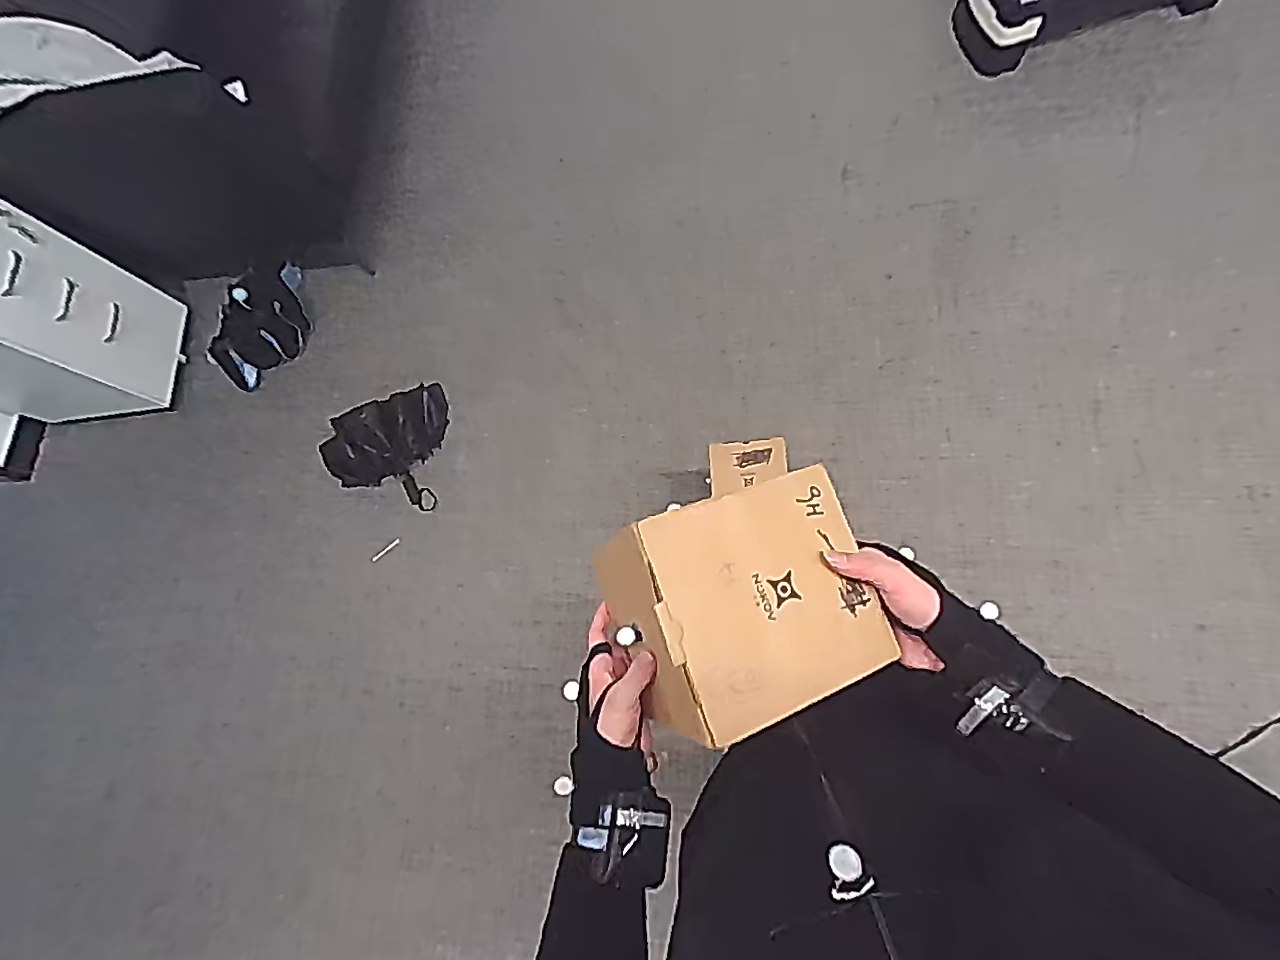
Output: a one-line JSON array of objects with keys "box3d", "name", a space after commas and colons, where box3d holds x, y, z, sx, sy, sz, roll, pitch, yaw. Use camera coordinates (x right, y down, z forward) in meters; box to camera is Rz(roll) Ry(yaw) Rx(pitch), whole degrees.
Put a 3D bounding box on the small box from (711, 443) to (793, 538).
[{"box3d": [0.254, 0.030, 1.242, 0.168, 0.176, 0.179, -5, 74, 11], "name": "small box"}]
